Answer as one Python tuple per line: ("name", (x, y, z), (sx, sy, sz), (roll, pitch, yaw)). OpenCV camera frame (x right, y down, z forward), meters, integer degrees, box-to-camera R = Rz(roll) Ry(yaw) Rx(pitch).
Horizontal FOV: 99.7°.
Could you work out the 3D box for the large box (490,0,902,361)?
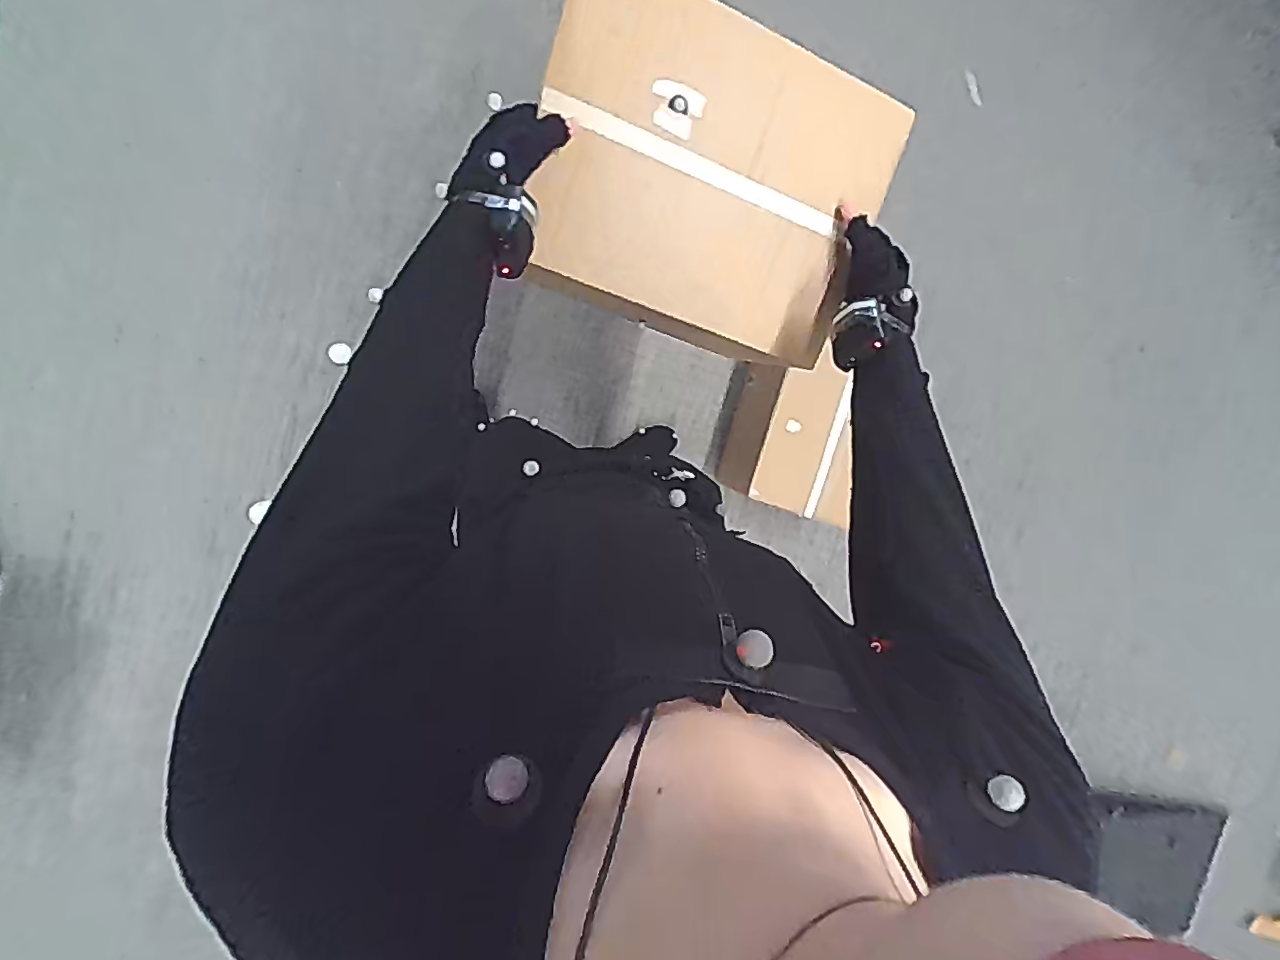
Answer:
("large box", (0.046, -0.375, 0.739), (0.408, 0.320, 0.320), (16, 101, -13))
